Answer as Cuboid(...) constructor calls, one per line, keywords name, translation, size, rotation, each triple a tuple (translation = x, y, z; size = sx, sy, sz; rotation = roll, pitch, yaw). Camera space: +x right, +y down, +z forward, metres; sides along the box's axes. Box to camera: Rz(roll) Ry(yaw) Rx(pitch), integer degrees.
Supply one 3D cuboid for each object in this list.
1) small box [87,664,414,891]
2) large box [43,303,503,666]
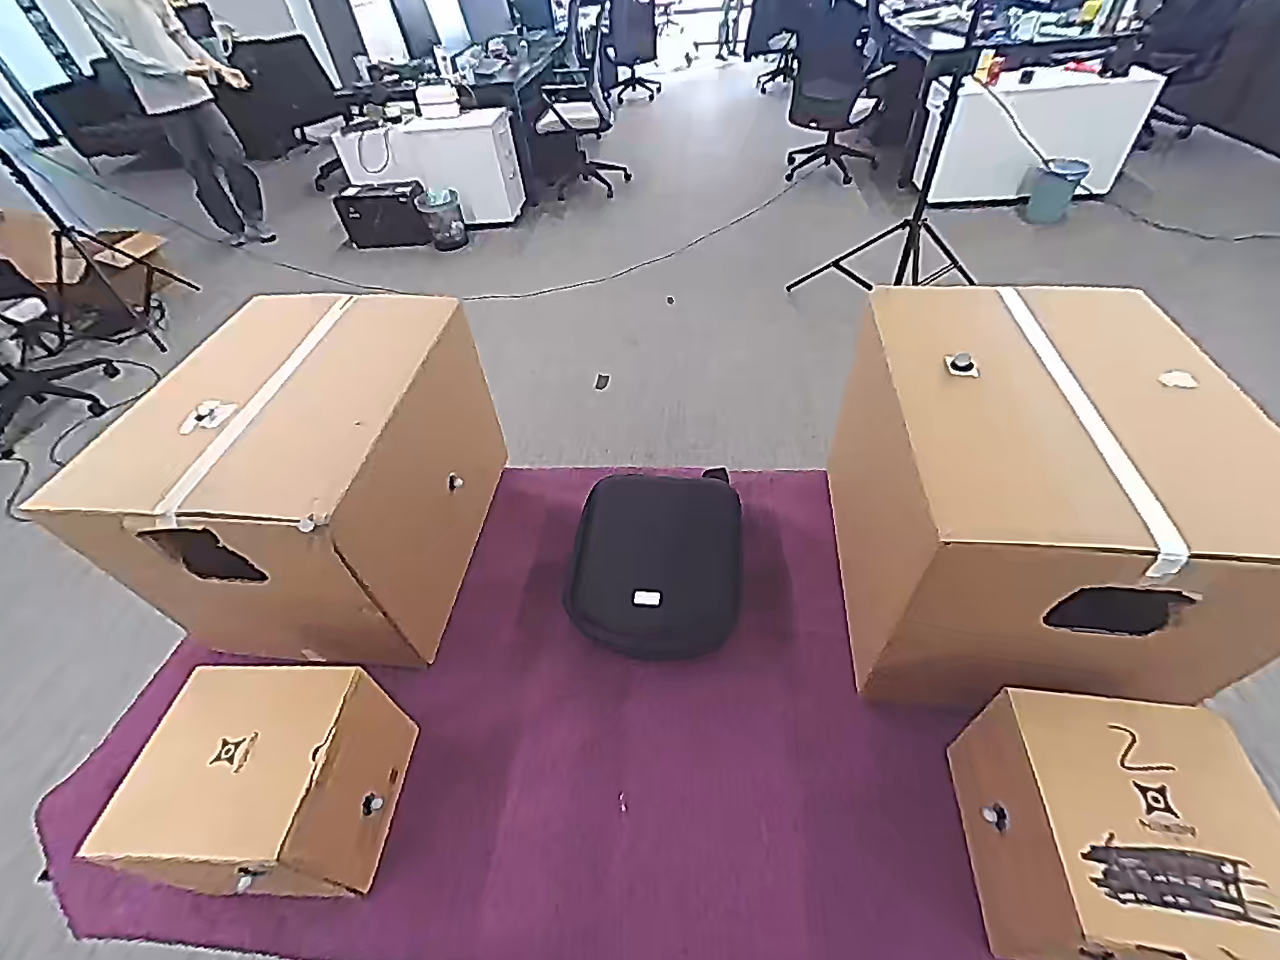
Cuboid(name="small box", translation=(-0.364, 0.304, 0.551), size=(0.179, 0.176, 0.168), rotation=(-2, 45, 3))
Cuboid(name="large box", translation=(-0.411, -0.002, 0.751), size=(0.320, 0.320, 0.408), rotation=(1, 49, 5))
